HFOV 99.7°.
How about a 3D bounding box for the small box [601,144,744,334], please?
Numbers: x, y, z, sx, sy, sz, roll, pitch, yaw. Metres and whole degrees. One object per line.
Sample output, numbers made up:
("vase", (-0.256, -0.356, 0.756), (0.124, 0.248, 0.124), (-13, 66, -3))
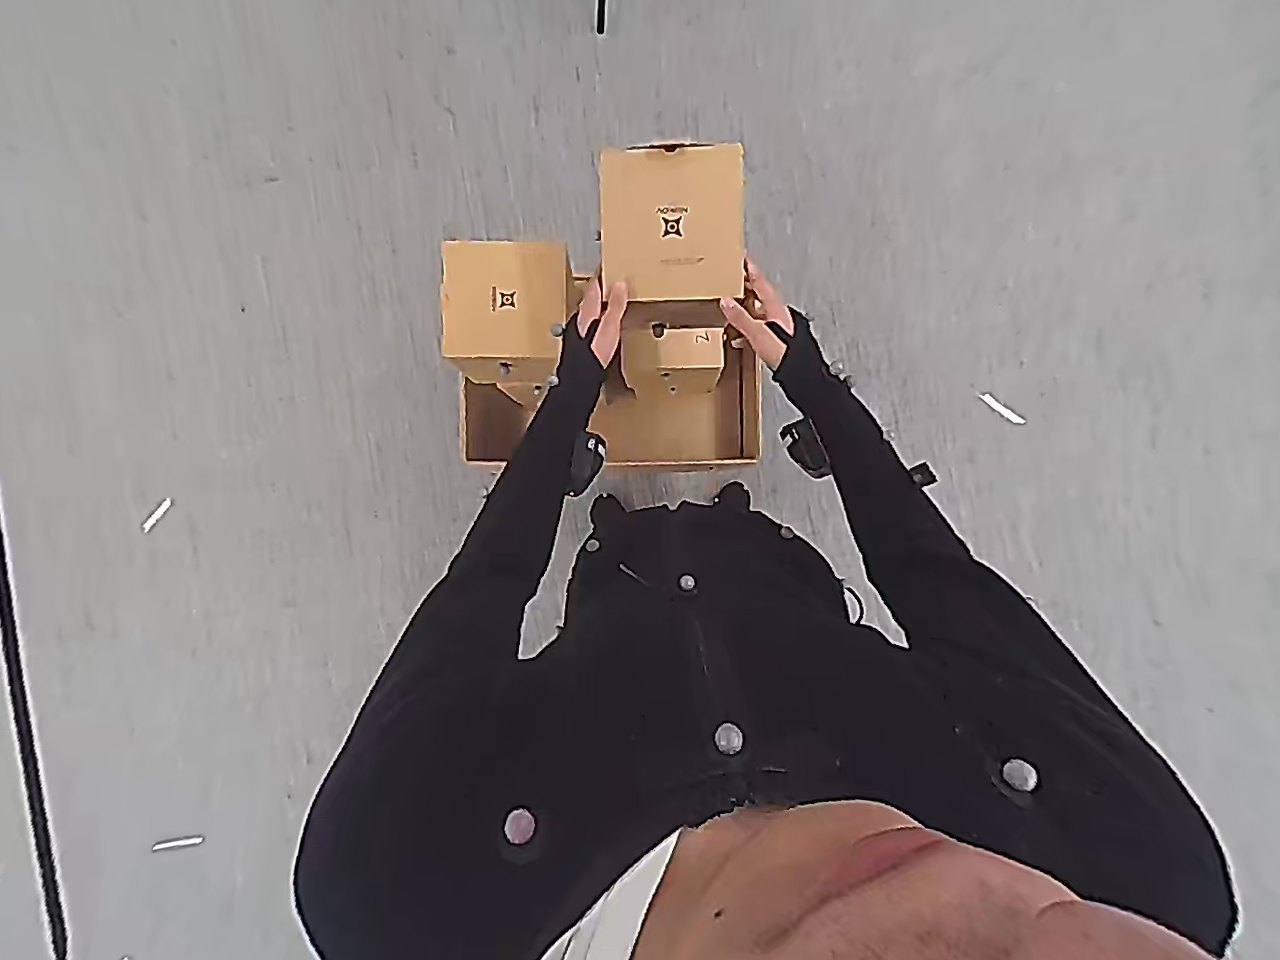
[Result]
("small box", (0.038, -0.296, 0.695), (0.168, 0.176, 0.179), (-1, 93, 2))

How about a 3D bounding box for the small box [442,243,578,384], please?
("small box", (-0.188, -0.246, 0.829), (0.179, 0.176, 0.168), (0, 88, 0))
